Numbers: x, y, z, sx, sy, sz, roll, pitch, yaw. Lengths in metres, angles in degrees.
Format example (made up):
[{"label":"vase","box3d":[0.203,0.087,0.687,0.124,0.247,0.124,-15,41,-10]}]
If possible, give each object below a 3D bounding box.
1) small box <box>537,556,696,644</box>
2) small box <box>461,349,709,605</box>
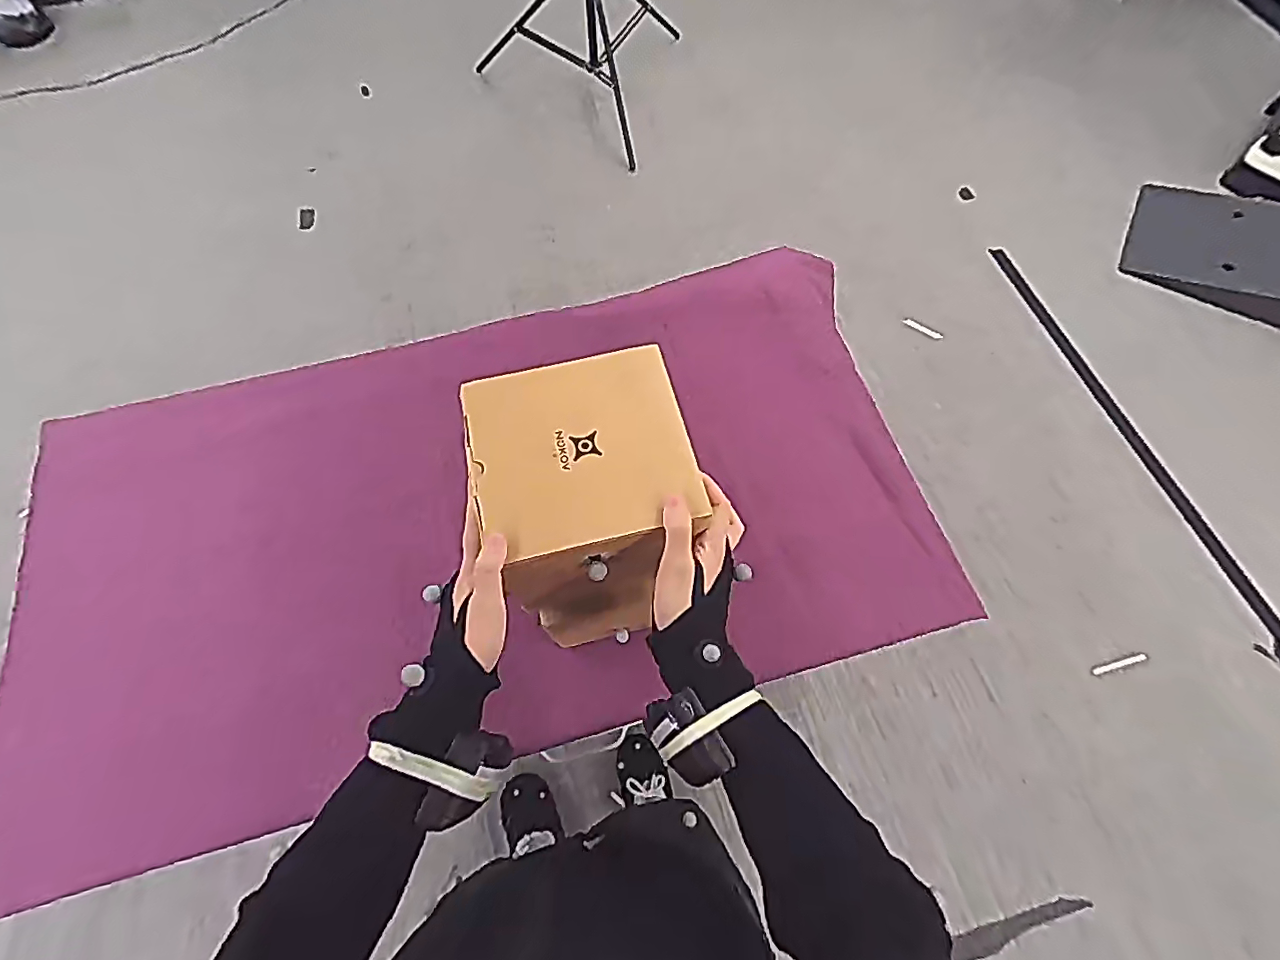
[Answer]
[{"label":"small box","box3d":[-0.041,0.085,0.652,0.168,0.176,0.179,-13,67,-5]},{"label":"small box","box3d":[-0.049,0.007,0.509,0.179,0.176,0.168,-14,67,-5]}]
